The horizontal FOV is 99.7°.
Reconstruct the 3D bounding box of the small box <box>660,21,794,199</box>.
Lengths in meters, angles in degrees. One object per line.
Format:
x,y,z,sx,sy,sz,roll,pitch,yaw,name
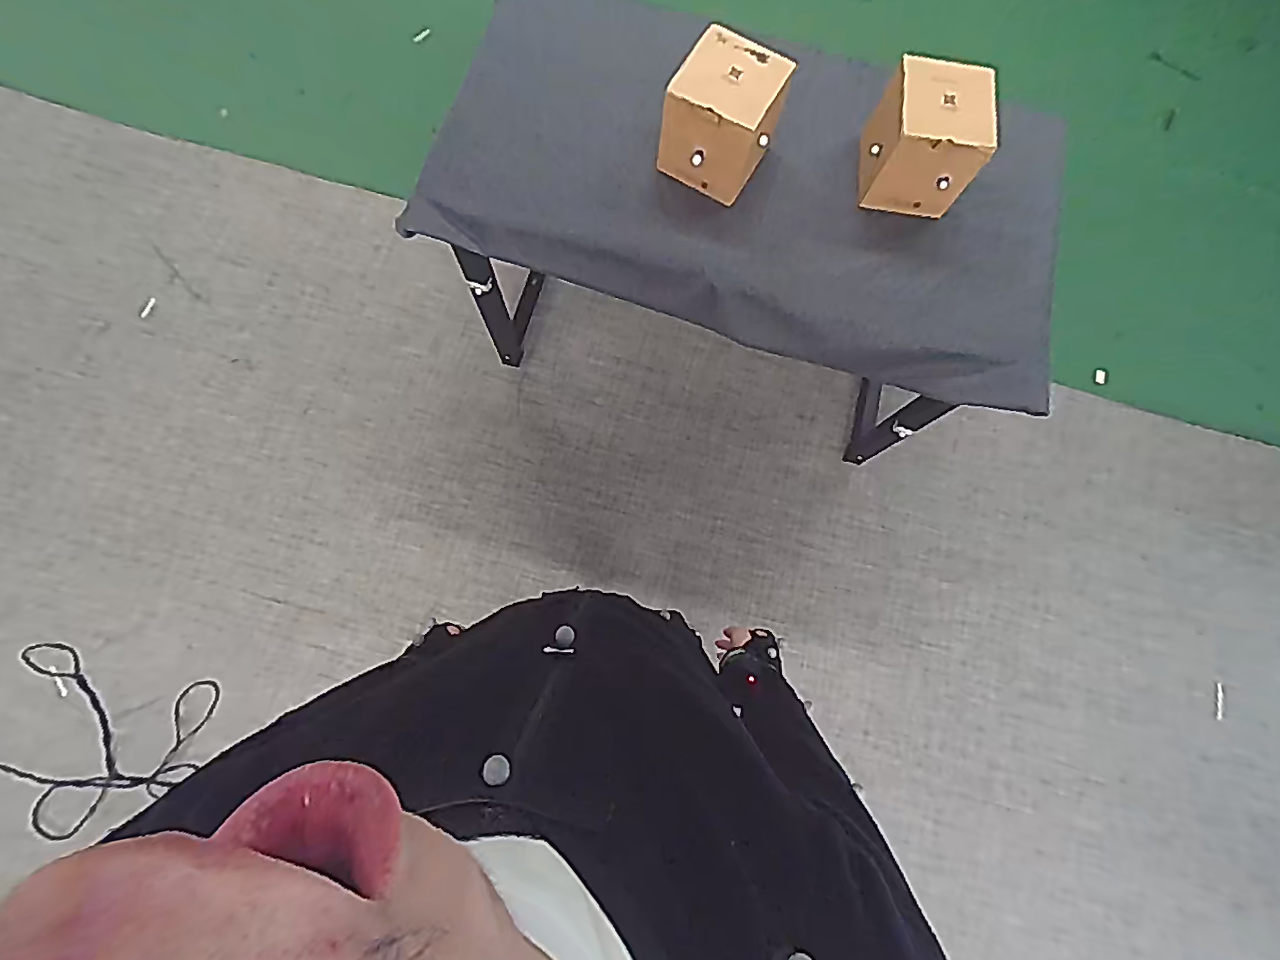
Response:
0.147,-0.657,0.980,0.168,0.176,0.179,30,76,3,small box

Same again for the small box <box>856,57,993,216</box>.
0.517,-0.625,1.002,0.168,0.176,0.179,8,75,-4,small box
